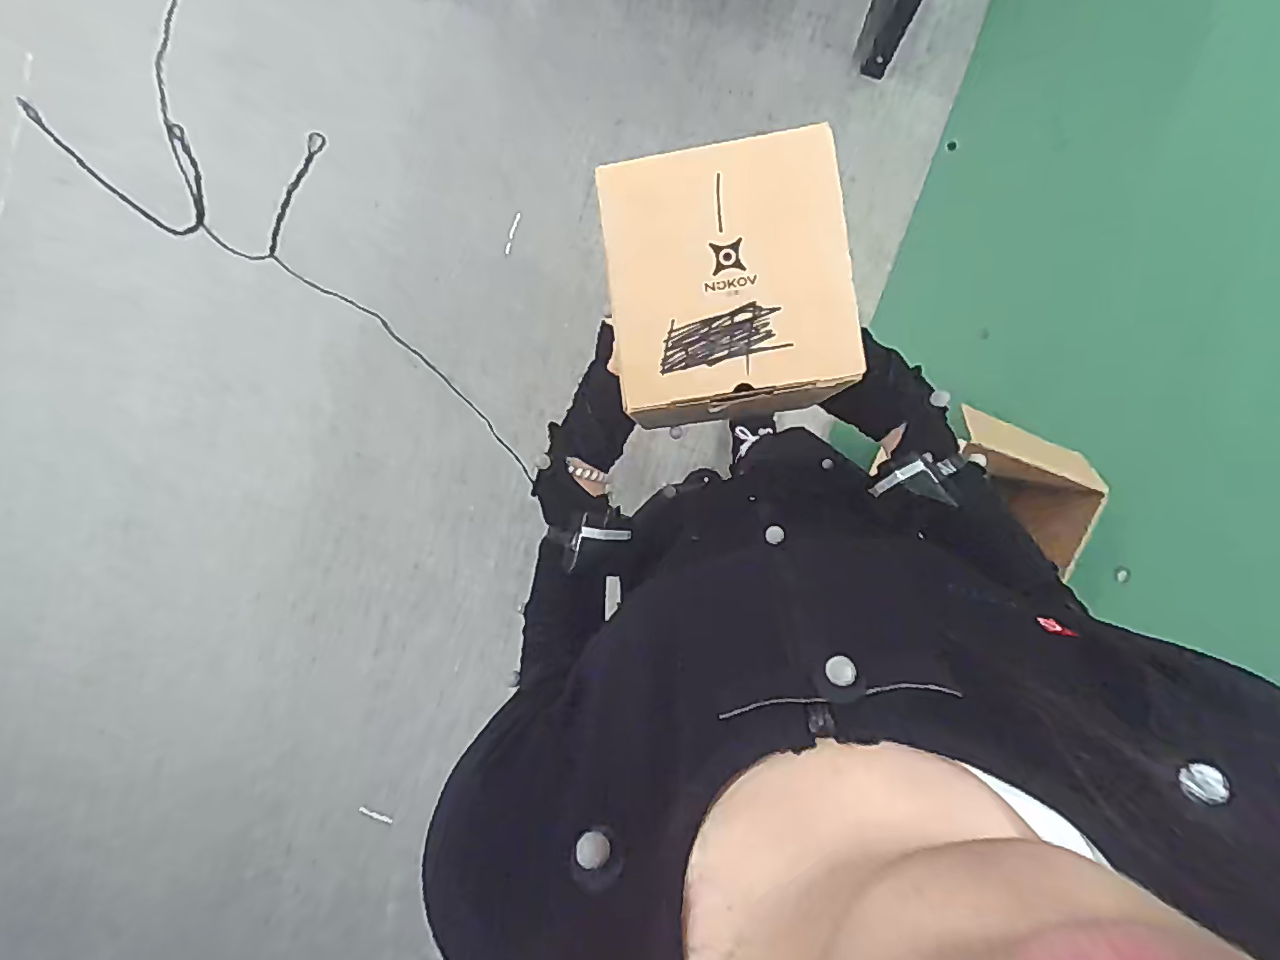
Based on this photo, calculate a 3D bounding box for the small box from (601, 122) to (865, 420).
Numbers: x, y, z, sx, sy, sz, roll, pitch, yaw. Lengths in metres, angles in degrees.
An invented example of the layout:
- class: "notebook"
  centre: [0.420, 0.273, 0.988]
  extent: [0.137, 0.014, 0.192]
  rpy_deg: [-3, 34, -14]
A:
- class: "small box"
  centre: [0.070, -0.147, 0.450]
  extent: [0.168, 0.176, 0.179]
  rpy_deg: [-8, 90, 4]
